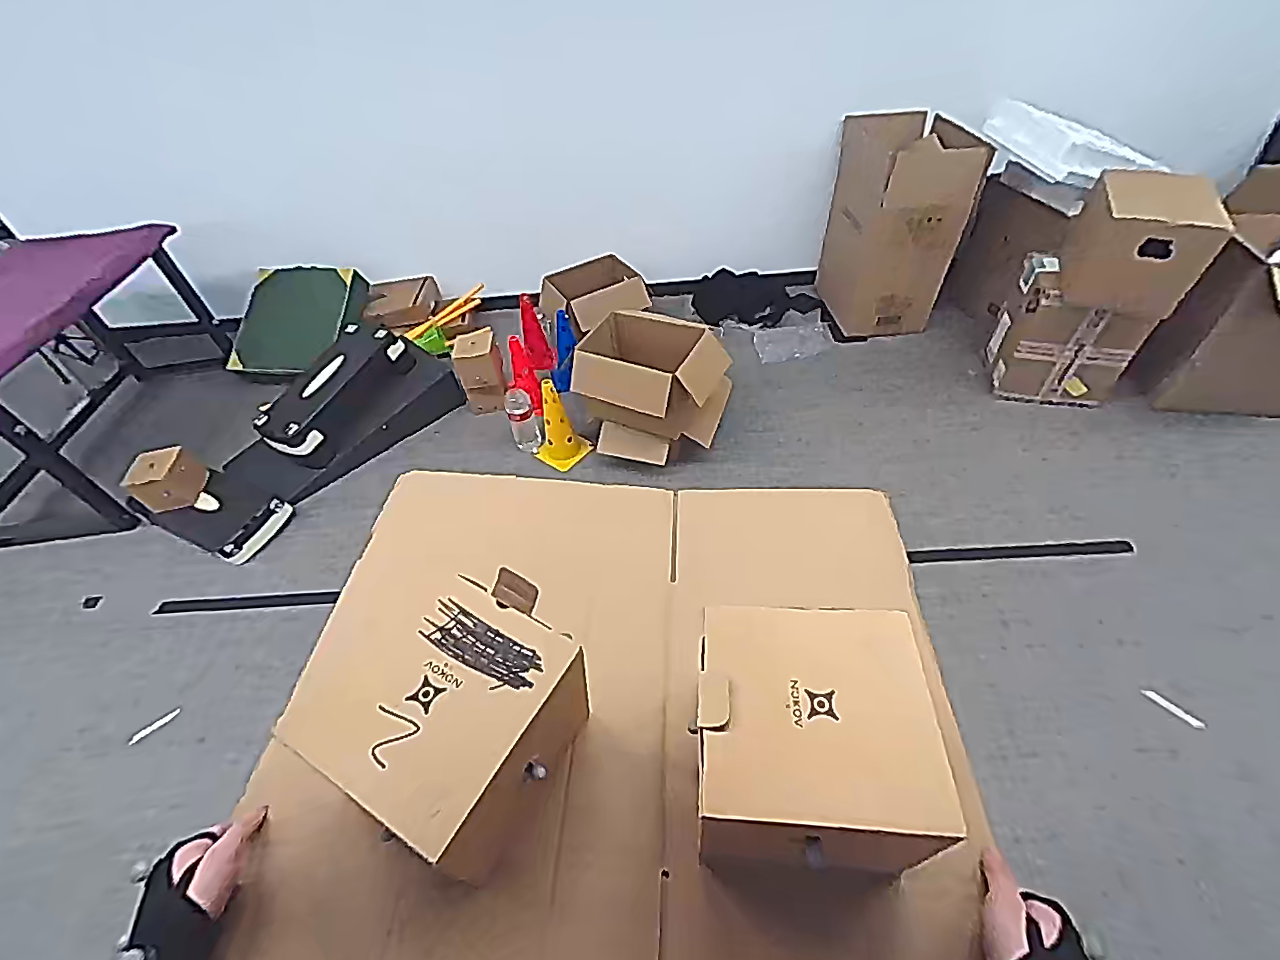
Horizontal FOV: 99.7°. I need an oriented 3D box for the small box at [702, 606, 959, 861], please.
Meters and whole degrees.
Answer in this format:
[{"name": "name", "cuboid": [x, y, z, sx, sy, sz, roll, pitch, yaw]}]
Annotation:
[{"name": "small box", "cuboid": [0.146, 0.231, 0.489, 0.179, 0.176, 0.168, 0, 48, 7]}]
